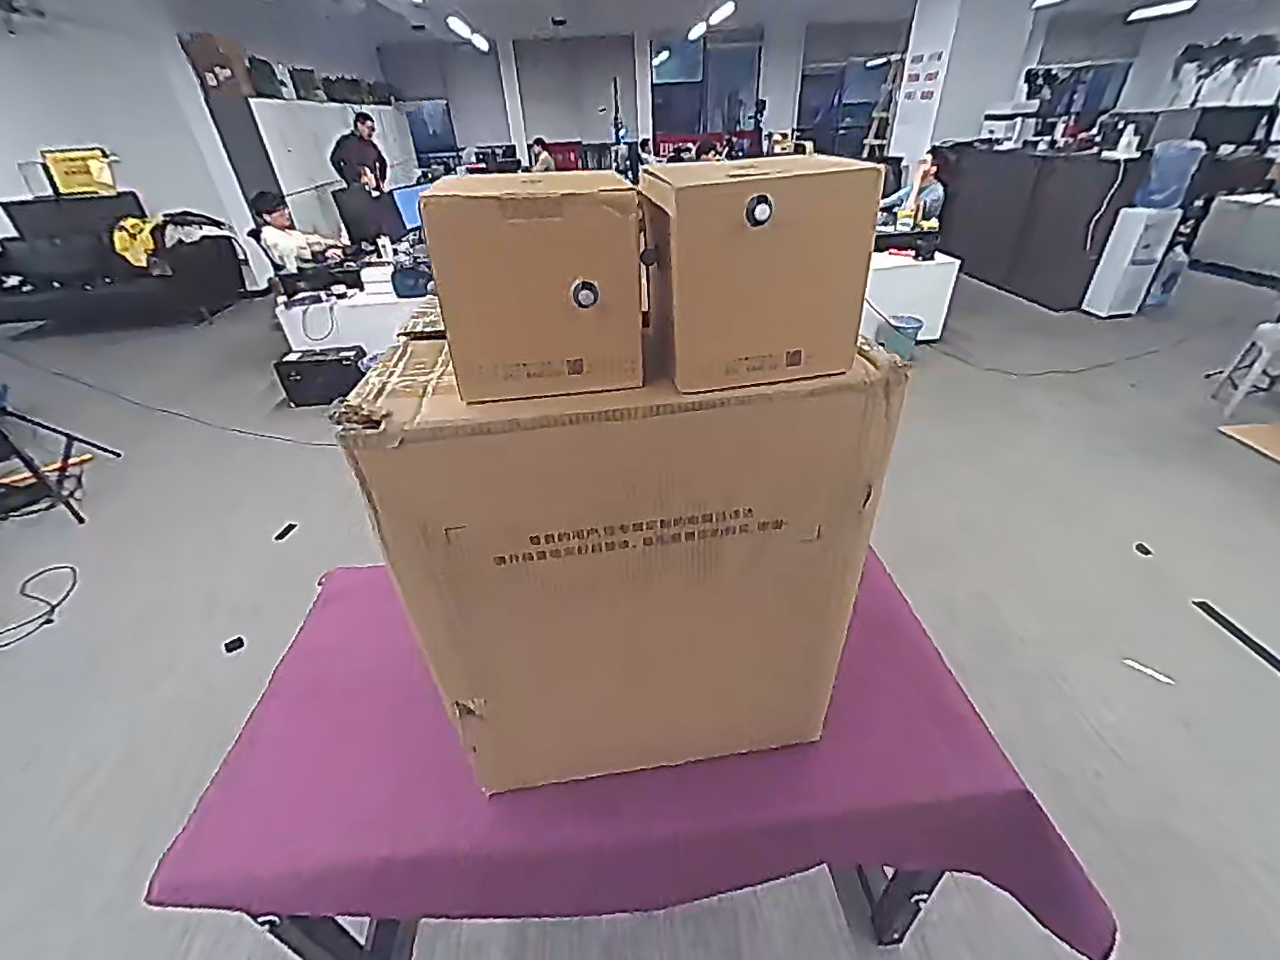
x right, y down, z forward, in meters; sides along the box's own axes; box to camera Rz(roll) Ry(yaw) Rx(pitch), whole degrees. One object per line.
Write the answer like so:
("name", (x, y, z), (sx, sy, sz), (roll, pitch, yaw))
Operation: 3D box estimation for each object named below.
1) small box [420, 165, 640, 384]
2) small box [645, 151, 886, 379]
("small box", (-0.092, -0.196, 0.515), (0.168, 0.176, 0.179), (-5, 32, -8))
("small box", (0.099, -0.208, 0.513), (0.168, 0.176, 0.179), (-8, 33, -5))
